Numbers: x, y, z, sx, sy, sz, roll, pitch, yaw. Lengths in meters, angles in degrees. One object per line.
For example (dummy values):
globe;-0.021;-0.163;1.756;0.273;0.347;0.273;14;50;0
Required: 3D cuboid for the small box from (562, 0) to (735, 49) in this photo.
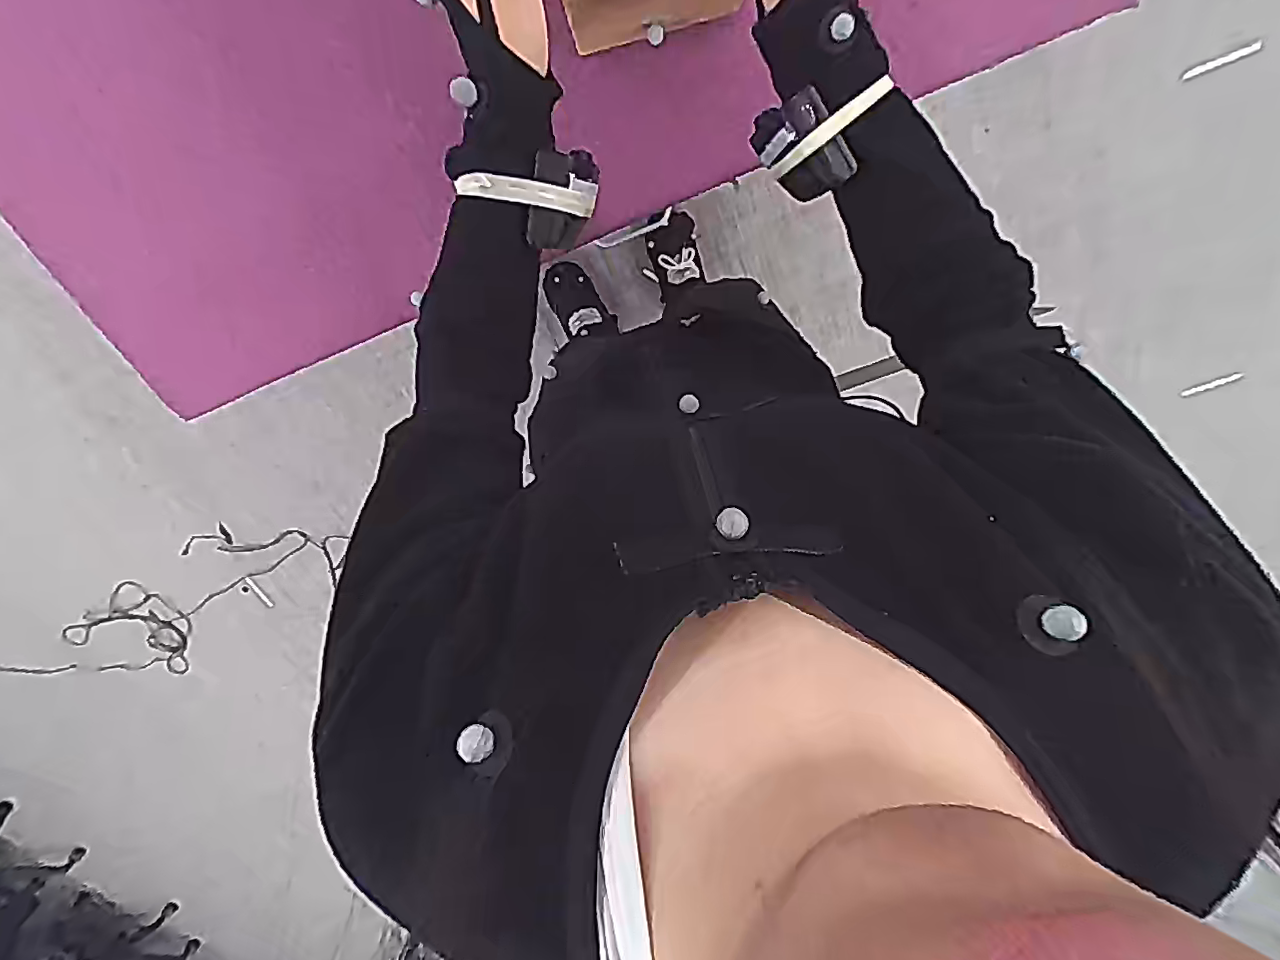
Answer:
small box;-0.002;-0.494;0.440;0.168;0.176;0.179;-11;118;5
